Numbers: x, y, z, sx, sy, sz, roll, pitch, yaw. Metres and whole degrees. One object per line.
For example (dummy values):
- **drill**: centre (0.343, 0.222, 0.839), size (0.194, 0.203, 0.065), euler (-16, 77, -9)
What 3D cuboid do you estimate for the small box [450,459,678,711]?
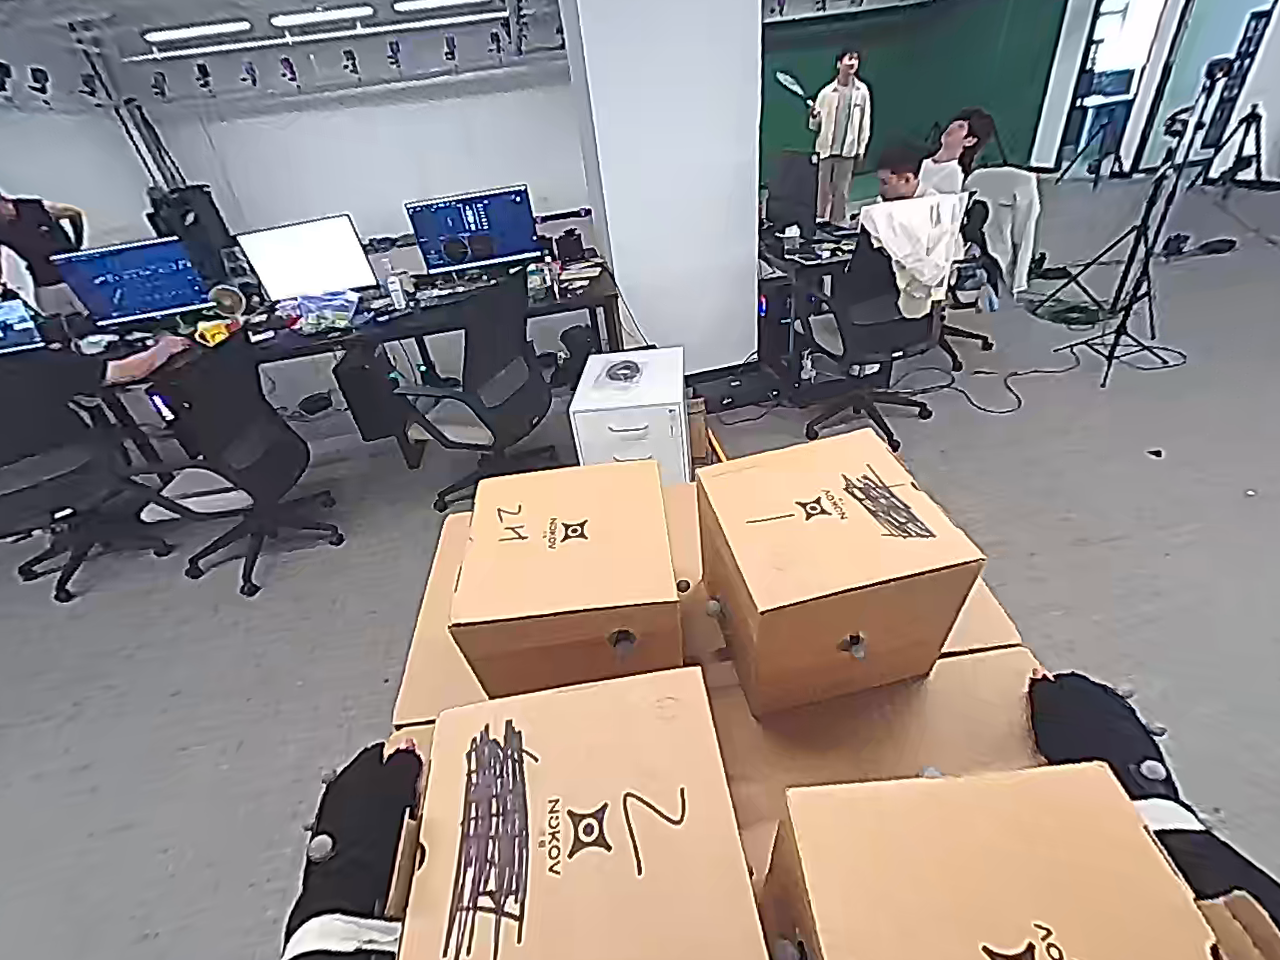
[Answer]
- **small box**: centre (-0.057, 0.103, 0.525), size (0.179, 0.176, 0.168), euler (-7, 42, 2)
